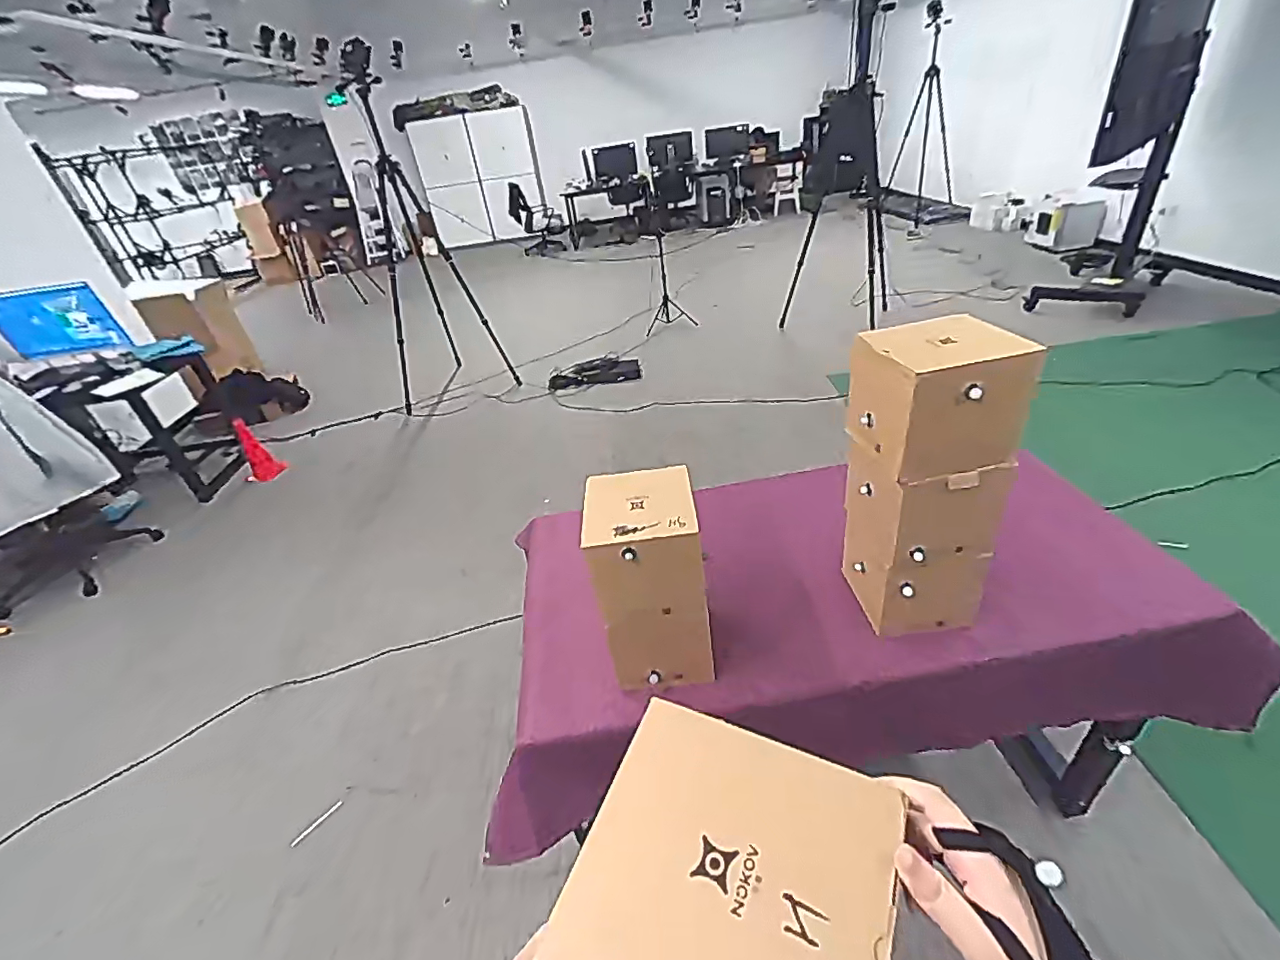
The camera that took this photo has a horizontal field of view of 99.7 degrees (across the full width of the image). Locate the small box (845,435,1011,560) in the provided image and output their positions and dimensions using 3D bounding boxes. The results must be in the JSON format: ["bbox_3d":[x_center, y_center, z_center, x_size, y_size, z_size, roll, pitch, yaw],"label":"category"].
[{"bbox_3d":[0.448,0.013,0.872,0.168,0.176,0.179,-11,32,-1],"label":"small box"}]

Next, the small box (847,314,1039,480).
[{"bbox_3d":[0.420,-0.121,0.785,0.179,0.176,0.168,-12,33,-2],"label":"small box"}]

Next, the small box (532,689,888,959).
[{"bbox_3d":[0.062,0.280,0.372,0.179,0.176,0.168,8,46,26],"label":"small box"}]

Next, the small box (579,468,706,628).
[{"bbox_3d":[0.007,0.105,0.851,0.168,0.176,0.179,-9,32,4],"label":"small box"}]

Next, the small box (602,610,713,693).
[{"bbox_3d":[0.032,0.241,0.942,0.168,0.176,0.179,-8,34,4],"label":"small box"}]
